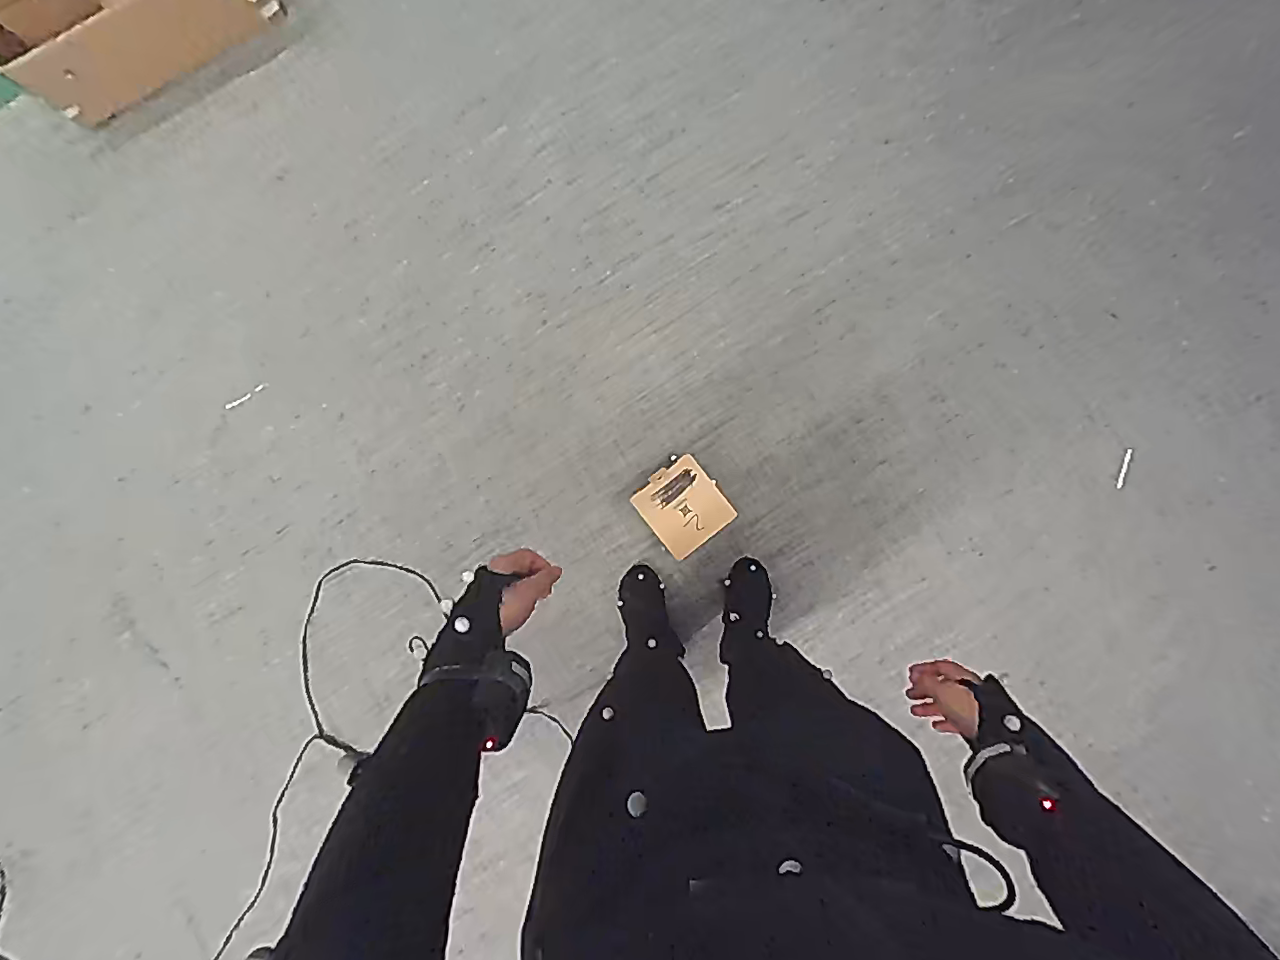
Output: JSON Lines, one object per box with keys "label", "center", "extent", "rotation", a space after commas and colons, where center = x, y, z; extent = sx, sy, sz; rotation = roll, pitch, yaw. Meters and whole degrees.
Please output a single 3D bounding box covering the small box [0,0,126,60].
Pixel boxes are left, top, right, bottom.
{"label": "small box", "center": [-1.383, -1.152, 1.264], "extent": [0.168, 0.176, 0.179], "rotation": [-33, 88, 0]}
